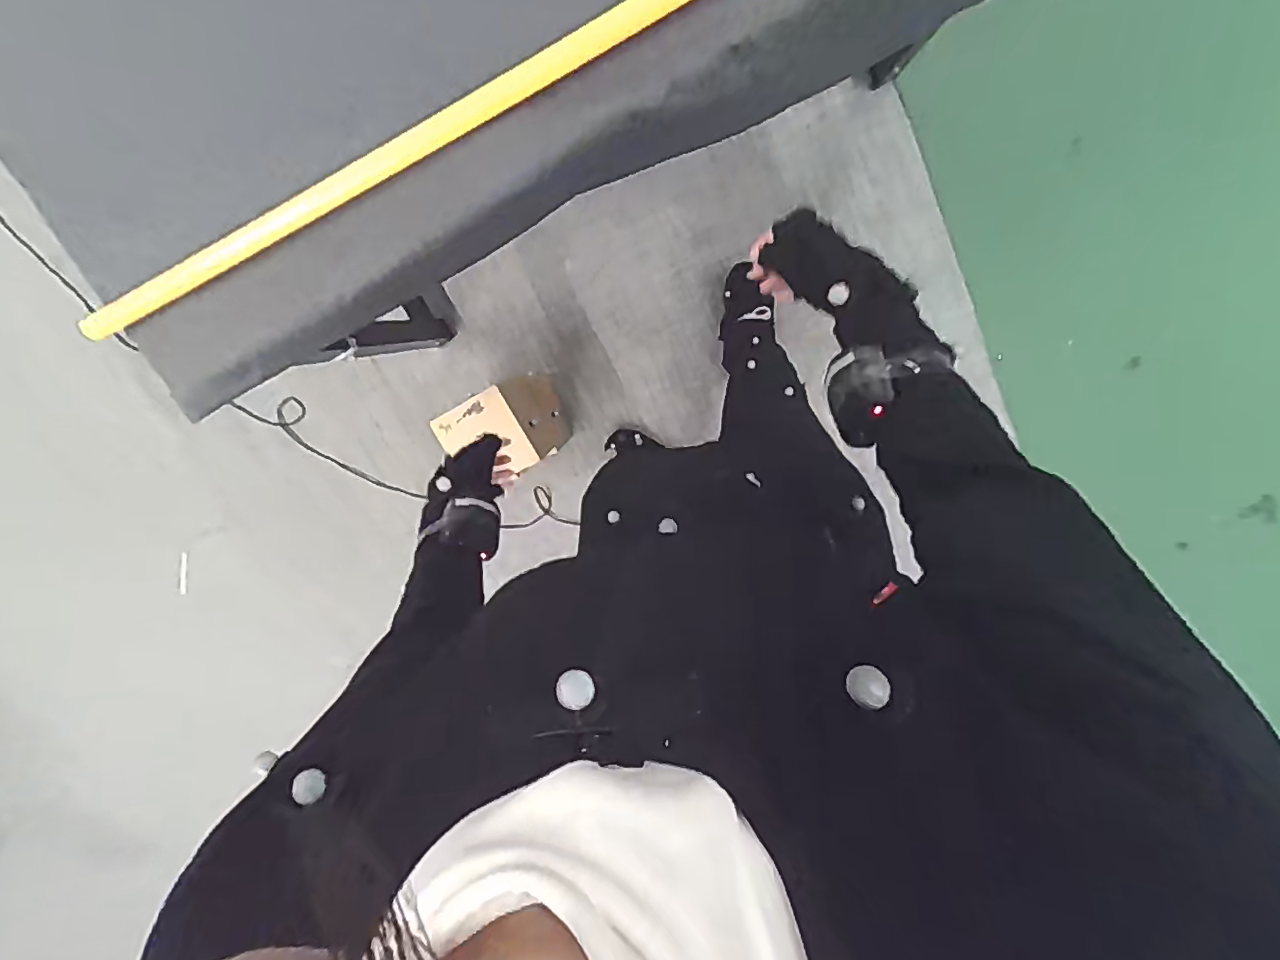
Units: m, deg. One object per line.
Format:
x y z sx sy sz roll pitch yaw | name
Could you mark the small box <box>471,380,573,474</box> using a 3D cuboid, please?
-0.279 -0.138 1.314 0.168 0.176 0.179 -17 105 10 | small box
